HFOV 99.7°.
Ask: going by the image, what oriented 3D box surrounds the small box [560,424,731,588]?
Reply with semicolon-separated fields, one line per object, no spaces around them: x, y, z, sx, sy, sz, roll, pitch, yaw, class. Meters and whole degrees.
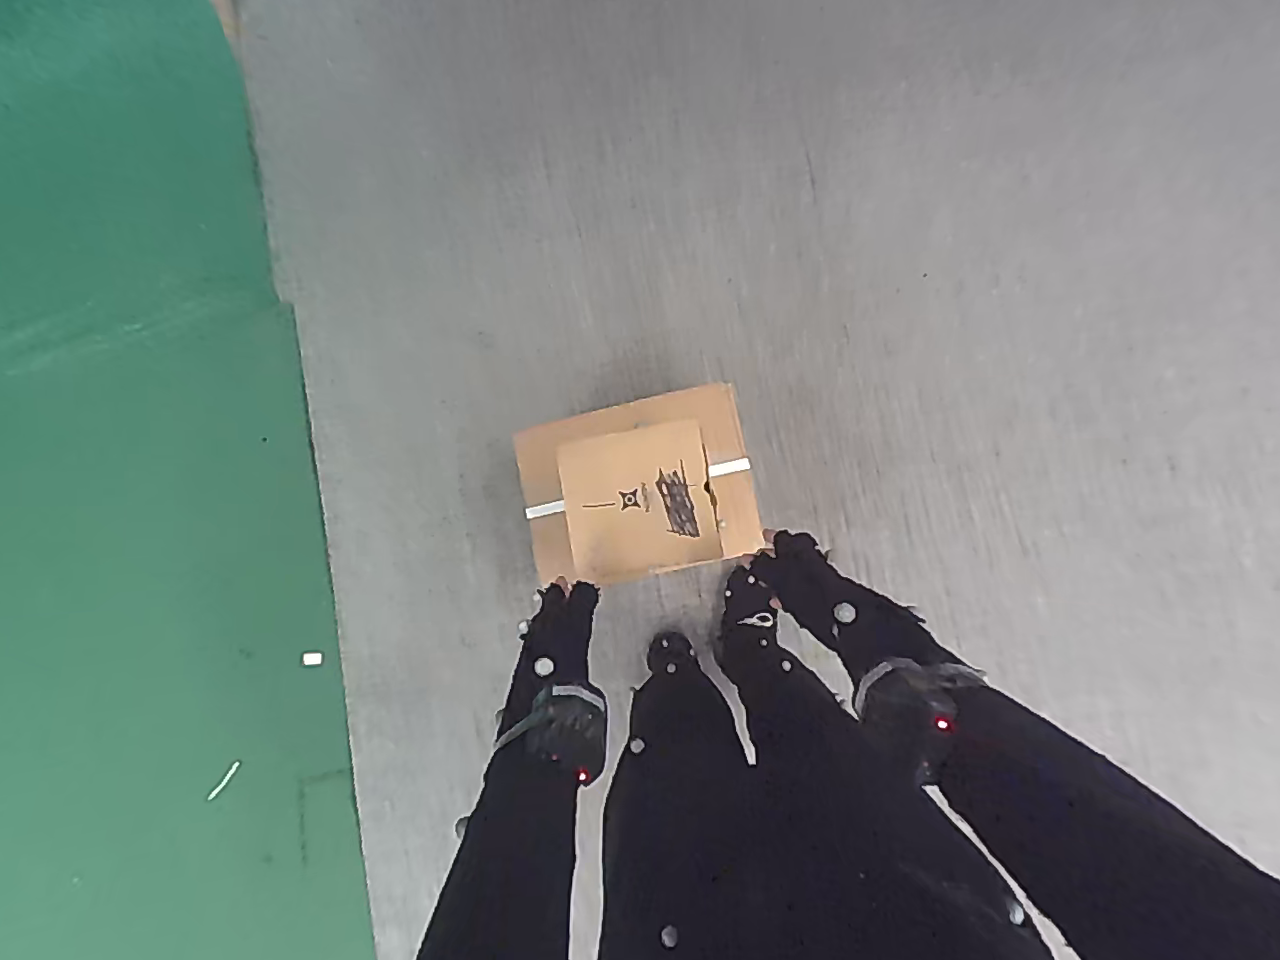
0.012;0.032;0.709;0.179;0.176;0.168;-13;87;6;small box
